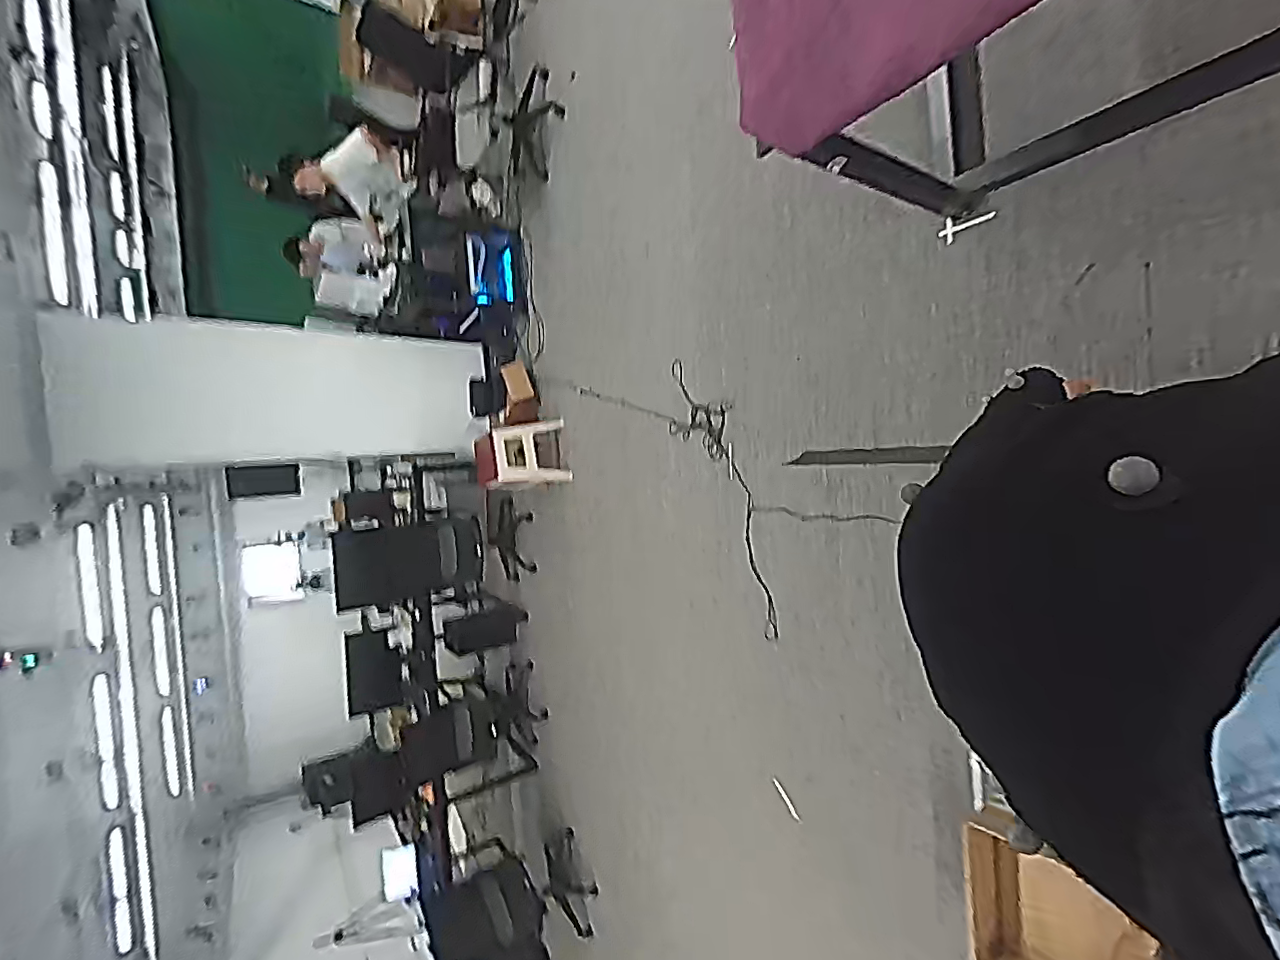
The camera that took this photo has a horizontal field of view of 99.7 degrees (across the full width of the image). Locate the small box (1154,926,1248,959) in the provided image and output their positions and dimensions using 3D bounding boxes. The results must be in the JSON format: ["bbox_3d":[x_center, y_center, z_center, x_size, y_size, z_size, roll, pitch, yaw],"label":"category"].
[{"bbox_3d":[1.109,1.018,1.033,0.168,0.176,0.179,-4,91,57],"label":"small box"}]
